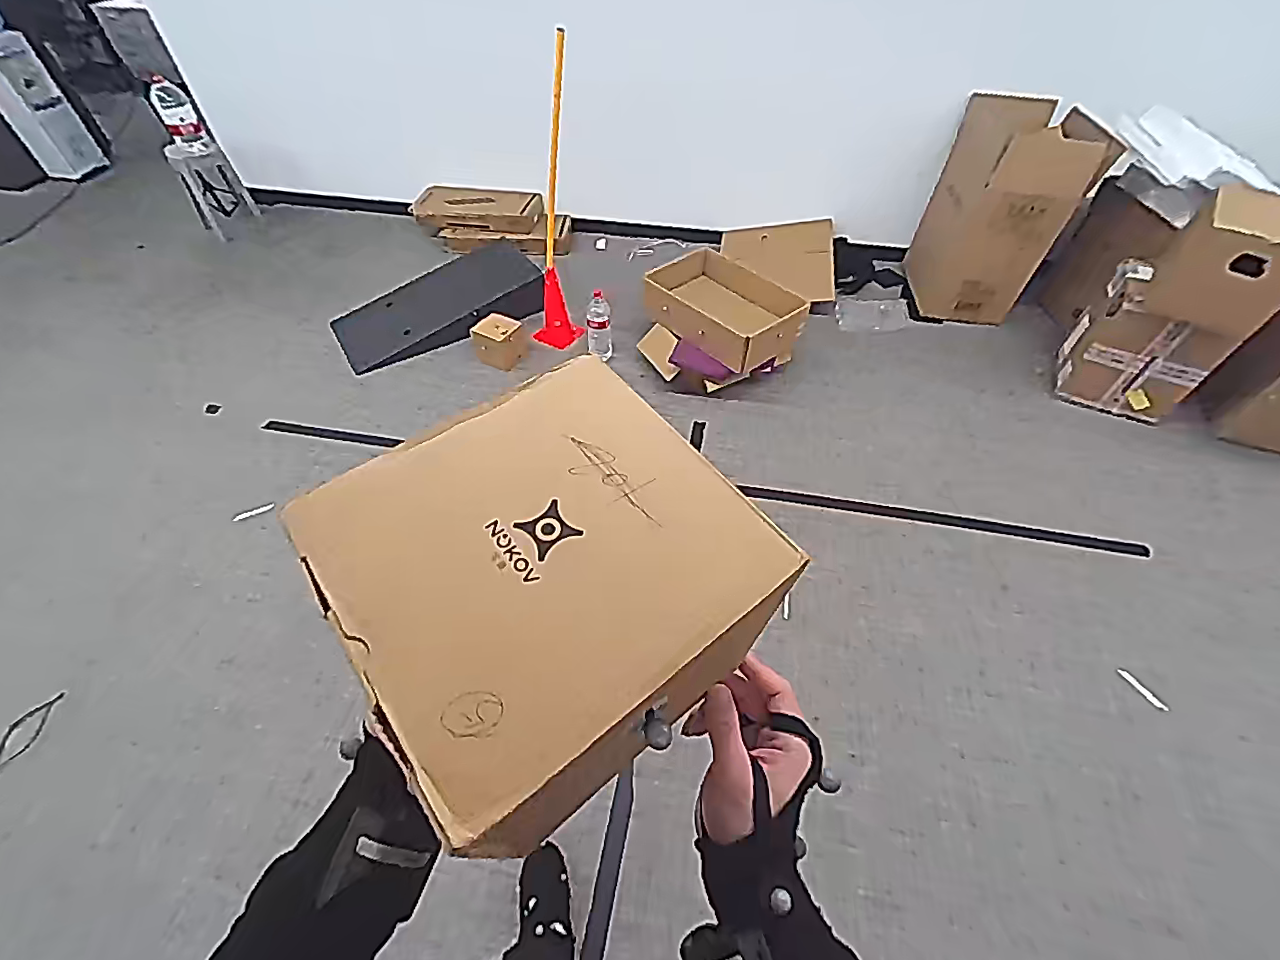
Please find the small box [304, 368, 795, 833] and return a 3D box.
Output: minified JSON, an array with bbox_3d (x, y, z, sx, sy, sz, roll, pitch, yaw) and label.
[{"bbox_3d":[-0.045,0.074,0.317,0.179,0.176,0.168,-33,64,-24],"label":"small box"}]
